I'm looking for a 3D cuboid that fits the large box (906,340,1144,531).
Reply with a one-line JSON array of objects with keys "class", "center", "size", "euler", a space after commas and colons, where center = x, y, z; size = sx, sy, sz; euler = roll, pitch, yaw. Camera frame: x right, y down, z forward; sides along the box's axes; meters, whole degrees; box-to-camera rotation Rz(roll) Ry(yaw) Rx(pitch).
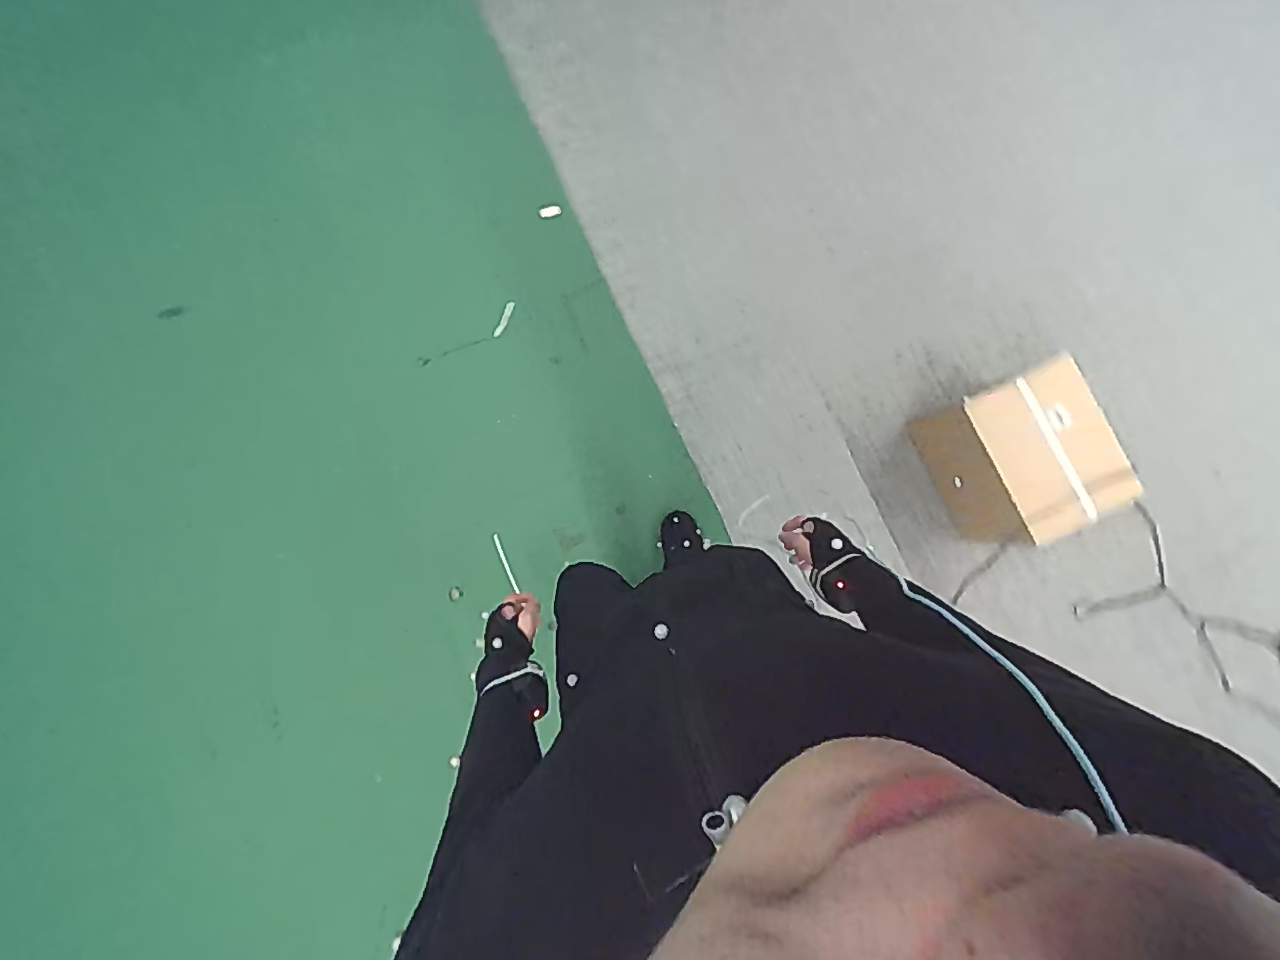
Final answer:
[{"class": "large box", "center": [1.038, -0.104, 1.509], "size": [0.320, 0.320, 0.408], "euler": [-27, 85, -2]}]
